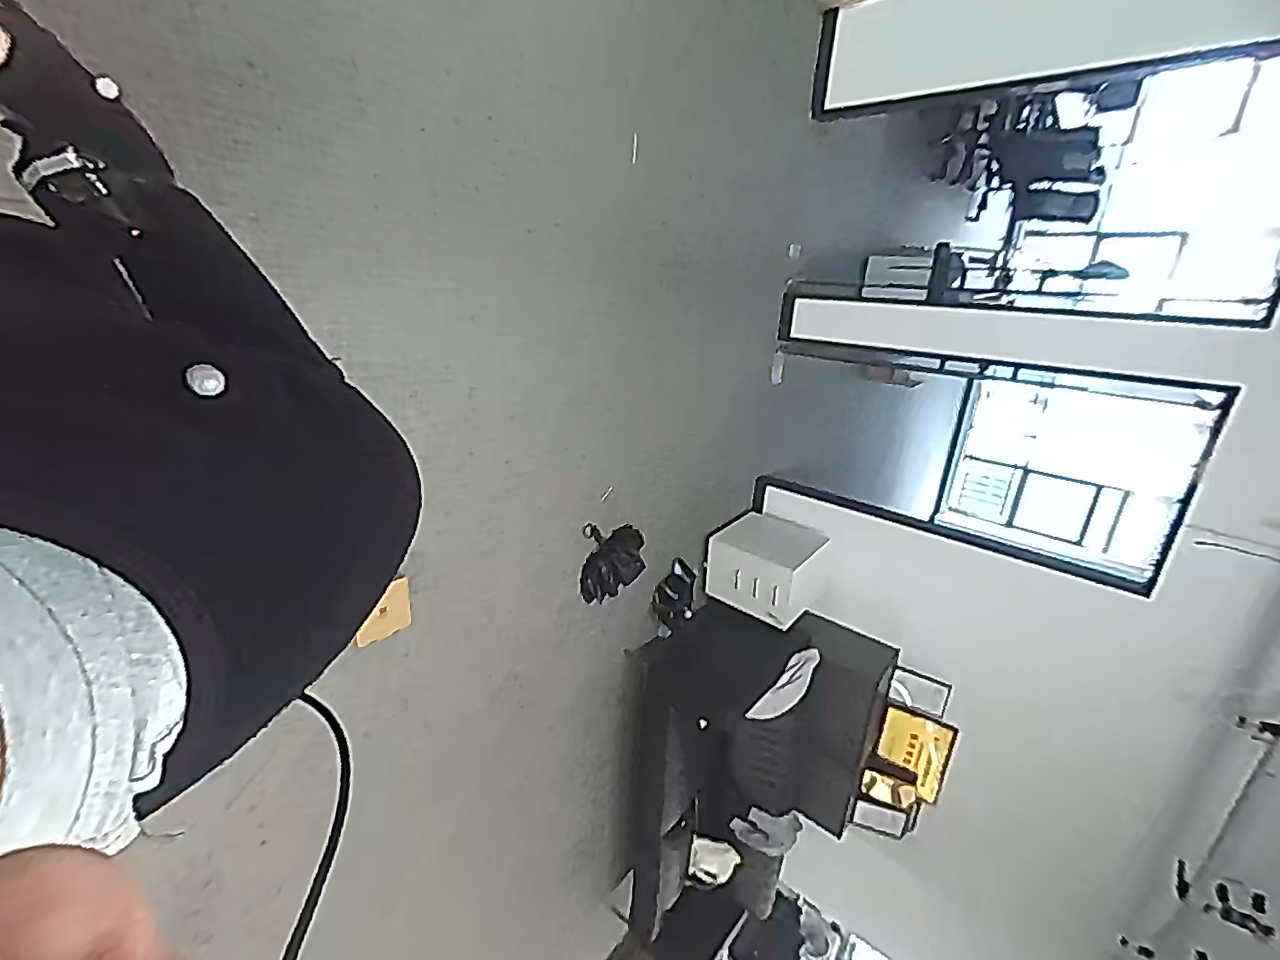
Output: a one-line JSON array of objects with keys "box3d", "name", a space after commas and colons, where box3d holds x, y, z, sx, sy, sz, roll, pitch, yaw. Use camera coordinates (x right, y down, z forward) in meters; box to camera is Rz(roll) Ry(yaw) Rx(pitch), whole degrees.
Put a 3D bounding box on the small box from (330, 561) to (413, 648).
[{"box3d": [-0.820, 0.374, 1.654, 0.168, 0.176, 0.179, -21, 120, -48], "name": "small box"}]
